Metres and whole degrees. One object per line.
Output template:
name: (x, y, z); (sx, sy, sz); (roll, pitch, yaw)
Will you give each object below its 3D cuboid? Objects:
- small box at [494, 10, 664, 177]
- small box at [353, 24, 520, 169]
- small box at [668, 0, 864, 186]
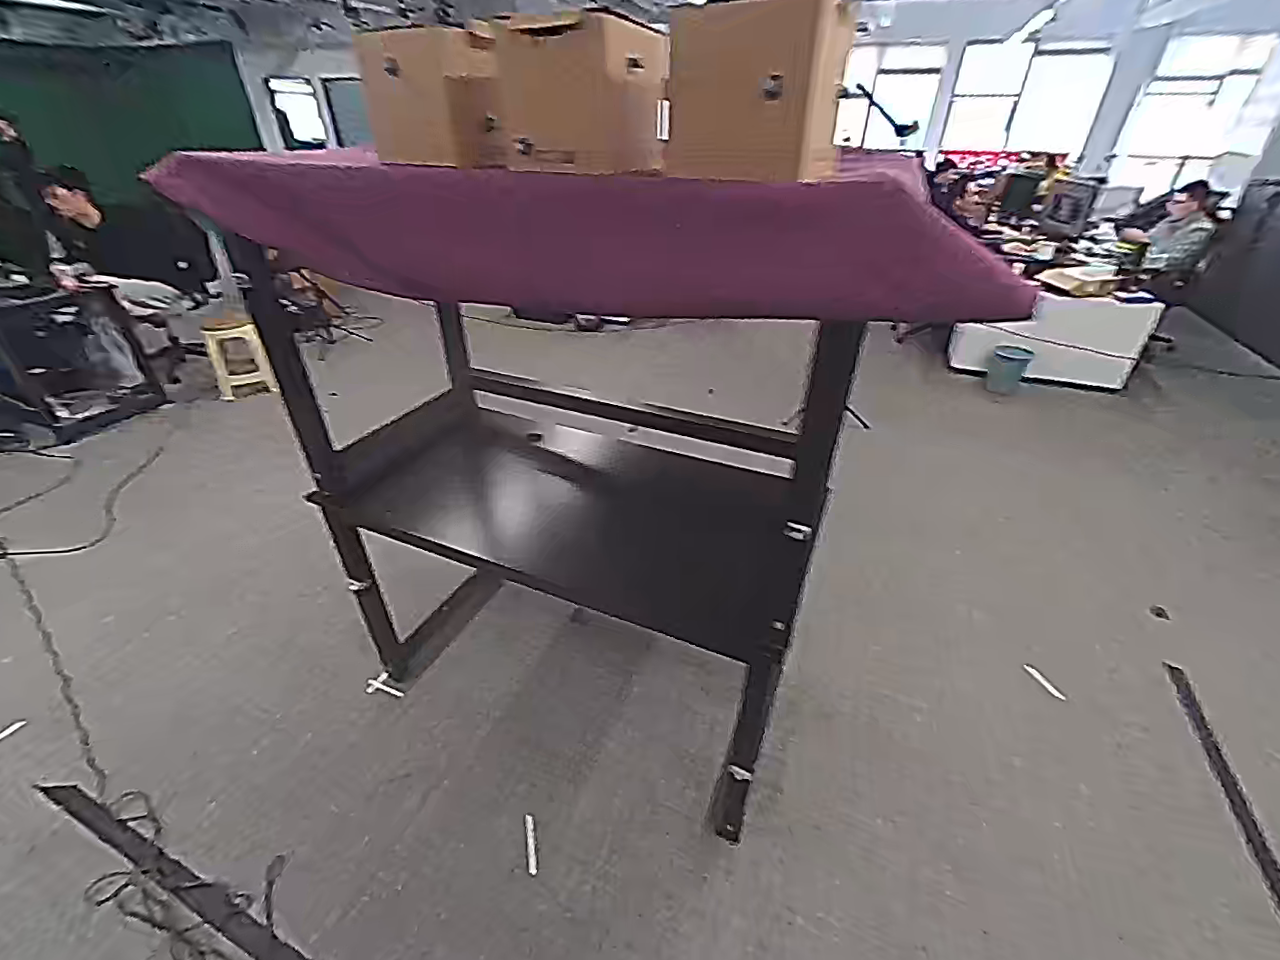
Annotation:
small box: (-0.073, -0.521, 0.749); (0.168, 0.176, 0.179); (14, 35, 20)
small box: (-0.303, -0.586, 0.846); (0.179, 0.176, 0.168); (16, 37, 23)
small box: (0.146, -0.453, 0.646); (0.179, 0.176, 0.168); (16, 35, 24)
